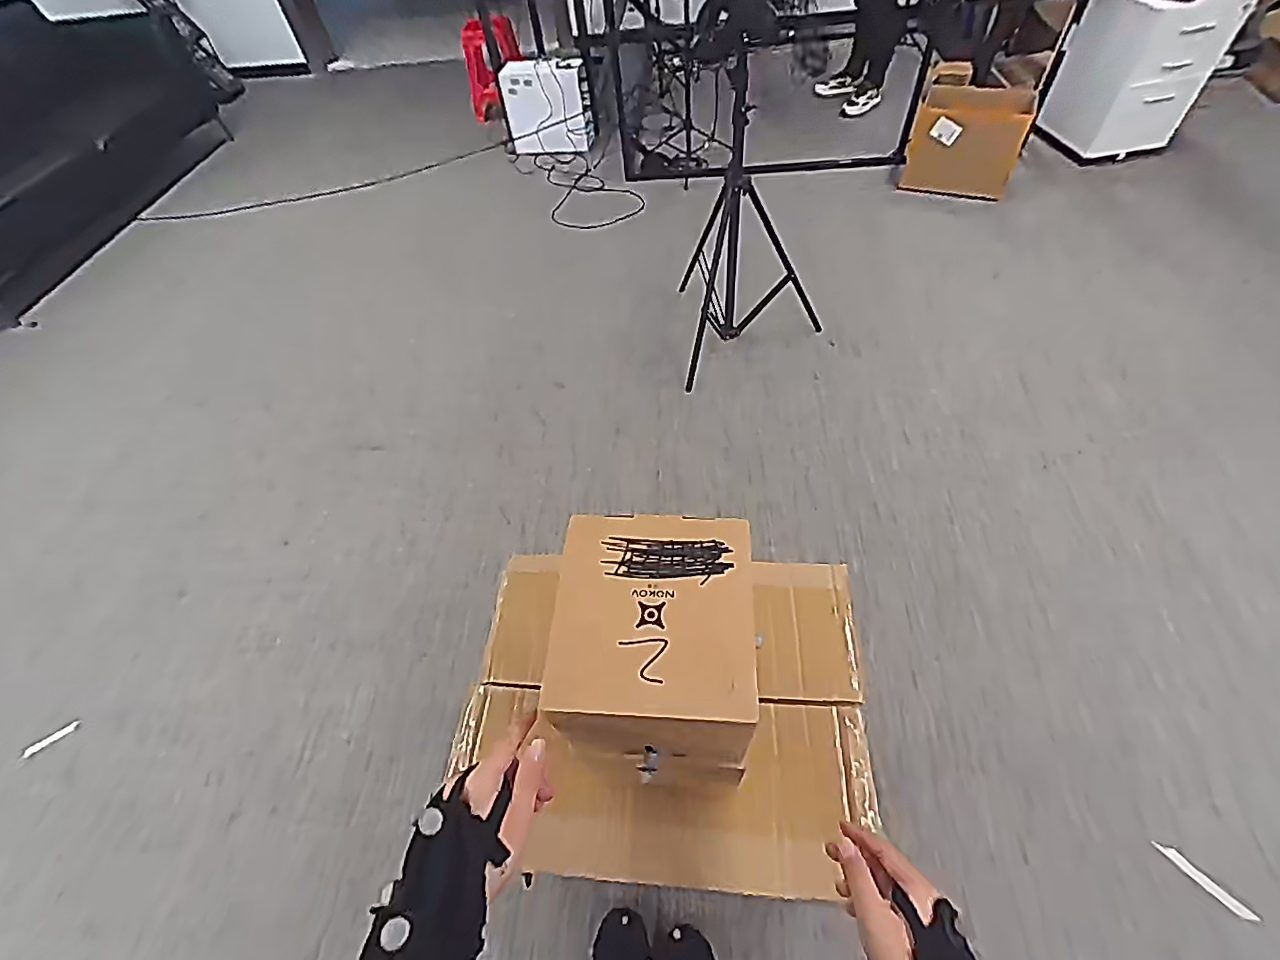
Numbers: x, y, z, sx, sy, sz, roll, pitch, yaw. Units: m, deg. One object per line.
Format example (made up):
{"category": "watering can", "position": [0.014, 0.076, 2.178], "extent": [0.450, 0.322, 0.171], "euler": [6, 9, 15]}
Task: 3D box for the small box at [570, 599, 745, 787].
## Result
{"category": "small box", "position": [0.029, 0.253, 0.637], "extent": [0.179, 0.176, 0.168], "euler": [1, 54, 7]}
